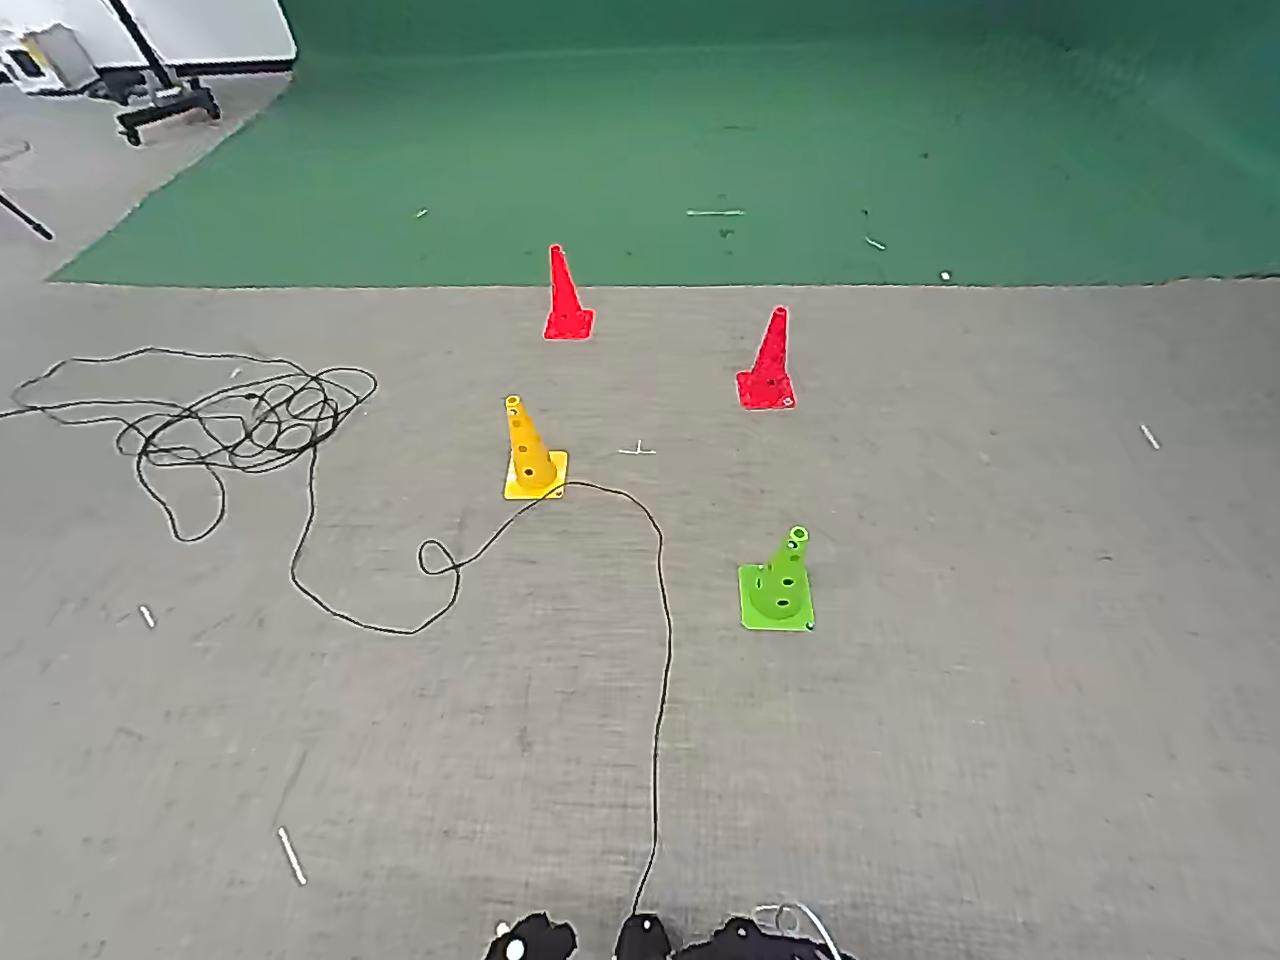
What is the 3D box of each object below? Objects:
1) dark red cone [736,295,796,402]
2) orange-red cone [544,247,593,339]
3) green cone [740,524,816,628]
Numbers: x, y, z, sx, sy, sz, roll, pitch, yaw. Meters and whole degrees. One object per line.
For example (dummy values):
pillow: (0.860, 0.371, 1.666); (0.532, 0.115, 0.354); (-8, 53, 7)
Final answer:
dark red cone: (0.462, -0.468, 1.898); (0.202, 0.394, 0.201); (-3, 52, 1)
orange-red cone: (-0.318, -0.776, 2.206); (0.198, 0.360, 0.199); (1, 54, 5)
green cone: (0.382, 0.223, 1.414); (0.202, 0.368, 0.200); (-1, 53, 4)
